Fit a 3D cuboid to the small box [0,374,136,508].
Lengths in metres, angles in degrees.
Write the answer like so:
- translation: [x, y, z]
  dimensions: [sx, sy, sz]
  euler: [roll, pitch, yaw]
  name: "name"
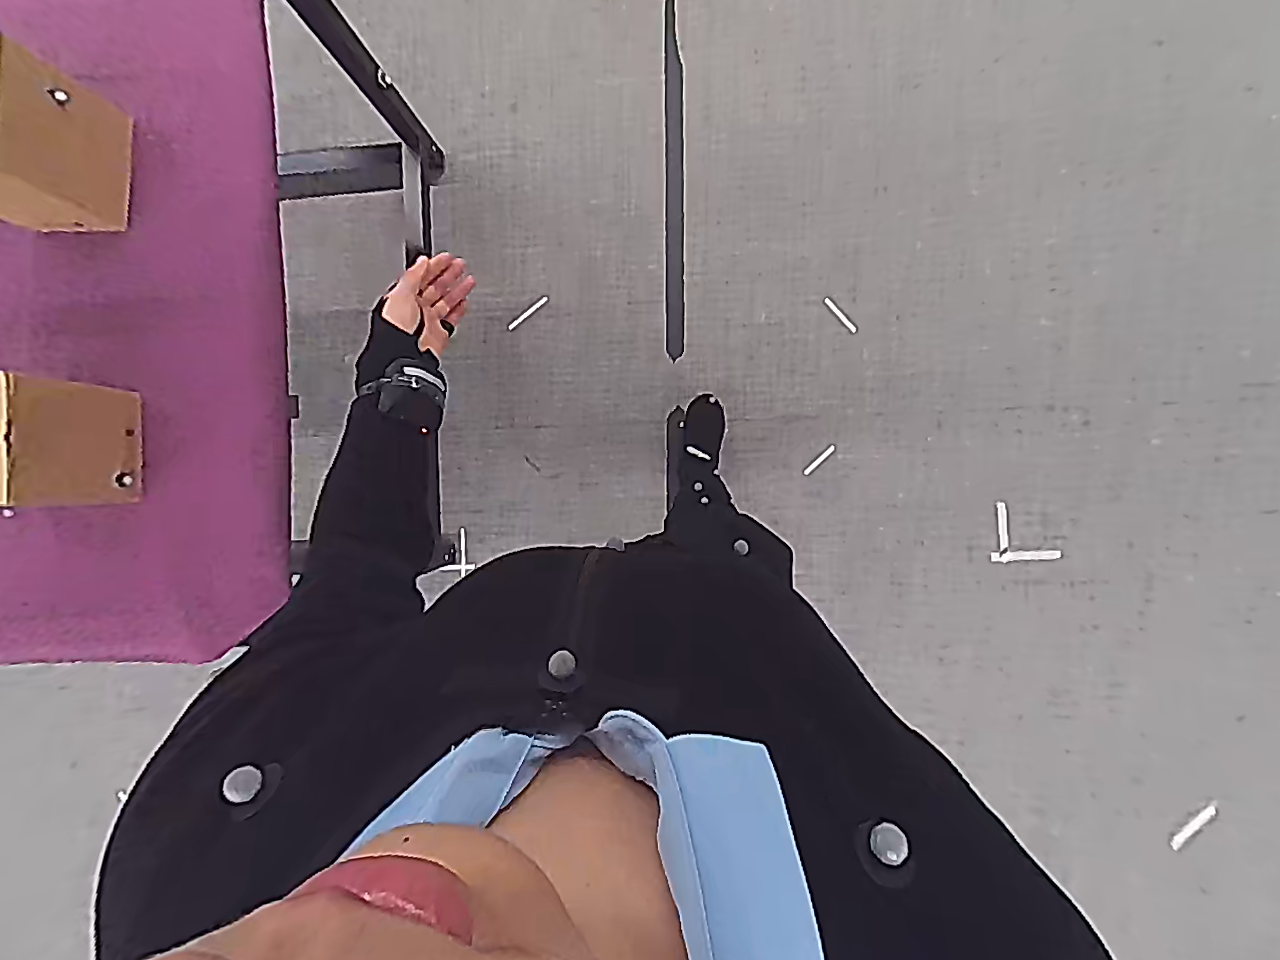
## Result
- translation: [-0.846, -0.046, 0.740]
  dimensions: [0.179, 0.176, 0.168]
  euler: [-2, 88, 4]
  name: "small box"
